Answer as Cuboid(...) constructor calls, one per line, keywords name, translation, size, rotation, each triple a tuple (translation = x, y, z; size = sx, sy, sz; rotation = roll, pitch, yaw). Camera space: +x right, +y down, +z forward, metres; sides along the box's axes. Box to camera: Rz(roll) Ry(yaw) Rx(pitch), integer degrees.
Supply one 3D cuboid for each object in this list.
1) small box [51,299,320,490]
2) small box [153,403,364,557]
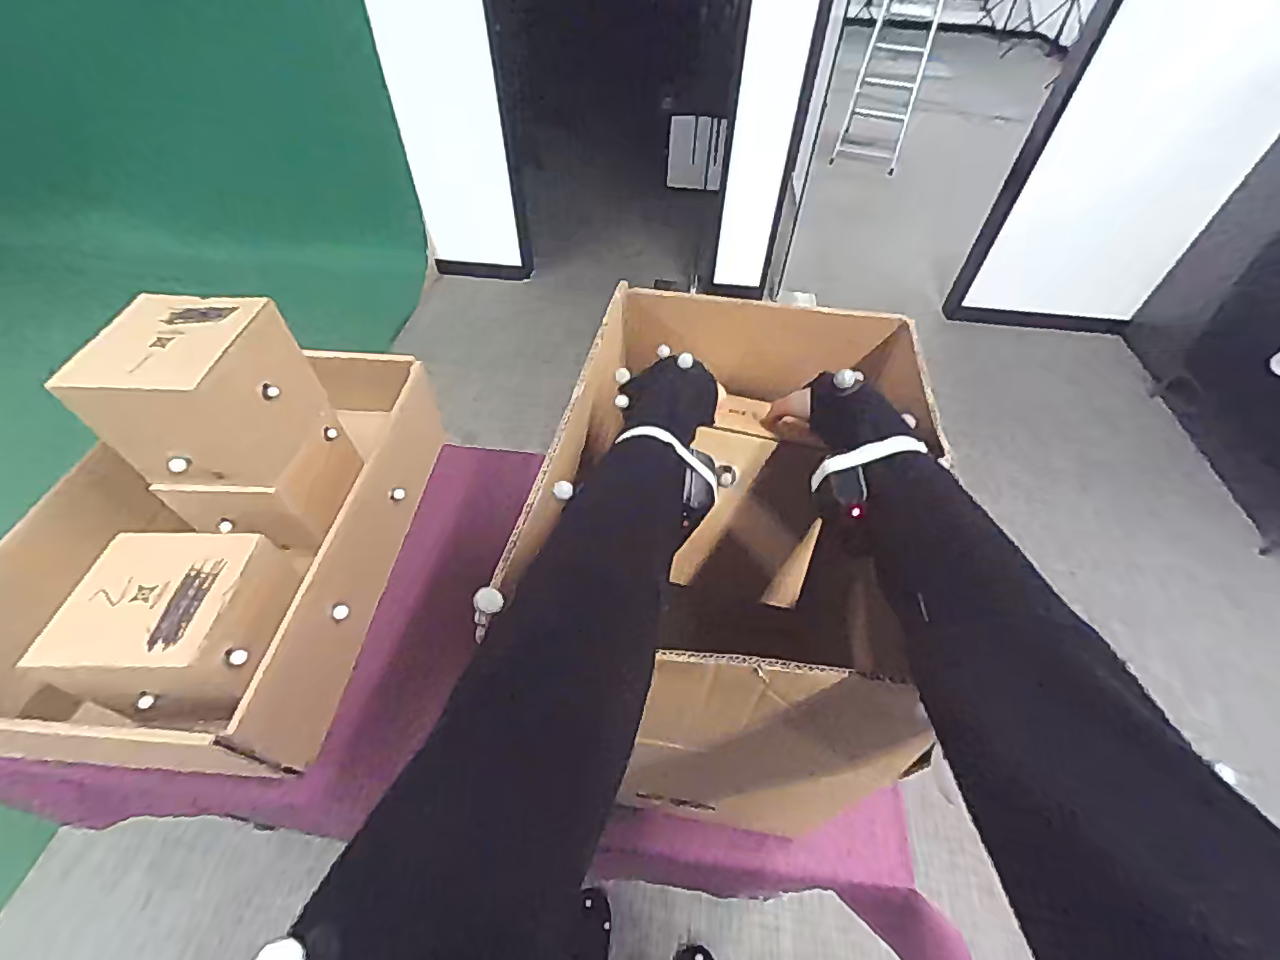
Cuboid(name="small box", translation=(-0.546, -0.107, 0.689), size=(0.168, 0.176, 0.179), rotation=(2, 52, 2))
Cuboid(name="small box", translation=(-0.547, 0.003, 0.812), size=(0.168, 0.176, 0.179), rotation=(1, 50, 1))
